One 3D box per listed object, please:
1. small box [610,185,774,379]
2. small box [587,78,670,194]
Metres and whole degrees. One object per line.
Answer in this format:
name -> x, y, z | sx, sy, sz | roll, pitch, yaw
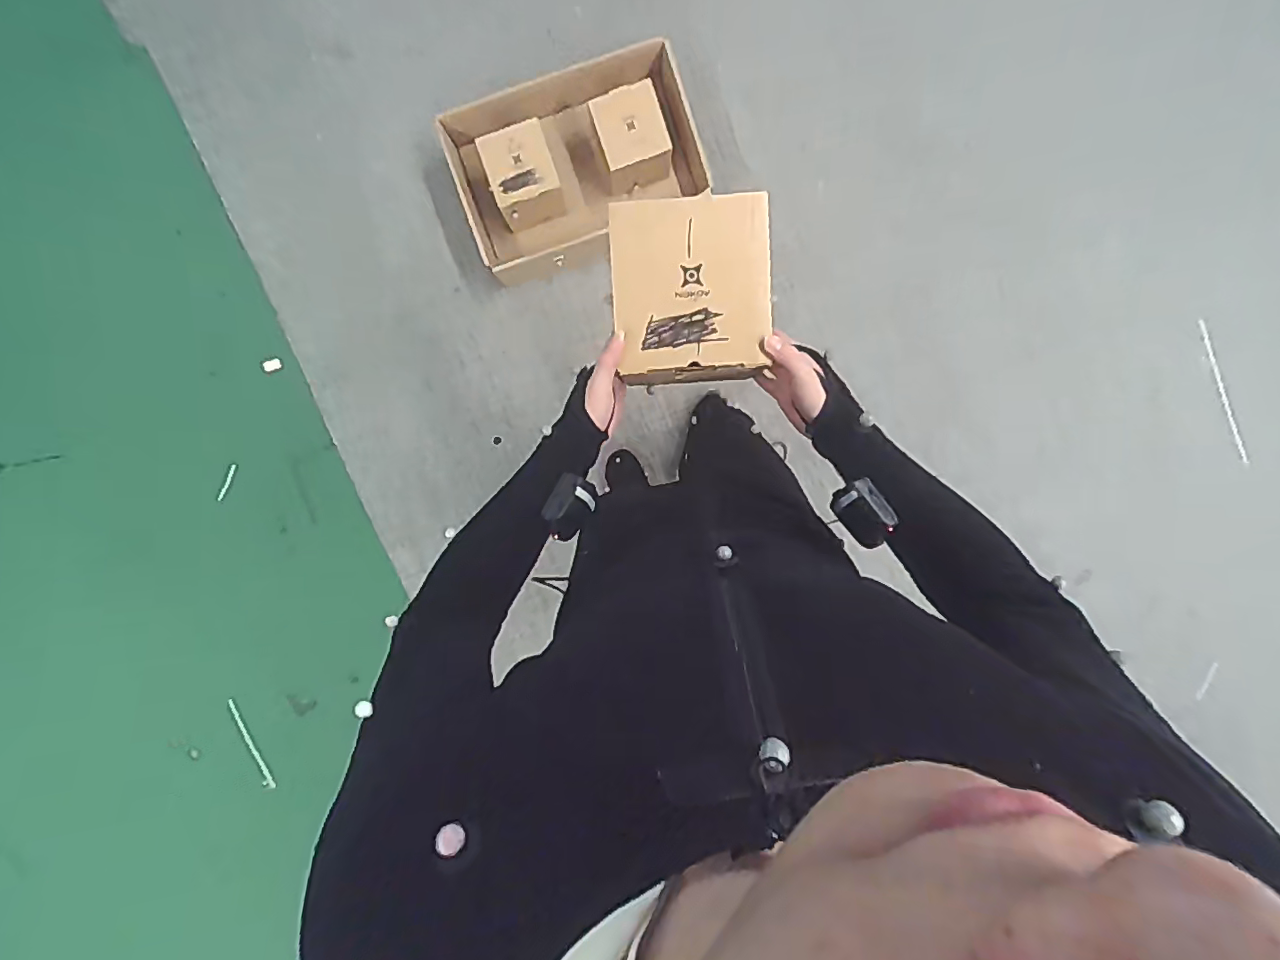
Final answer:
small box -> 0.057, -0.212, 0.628 | 0.168, 0.176, 0.179 | -3, 94, 2
small box -> -0.030, -0.872, 1.392 | 0.168, 0.176, 0.179 | -19, 96, 1
